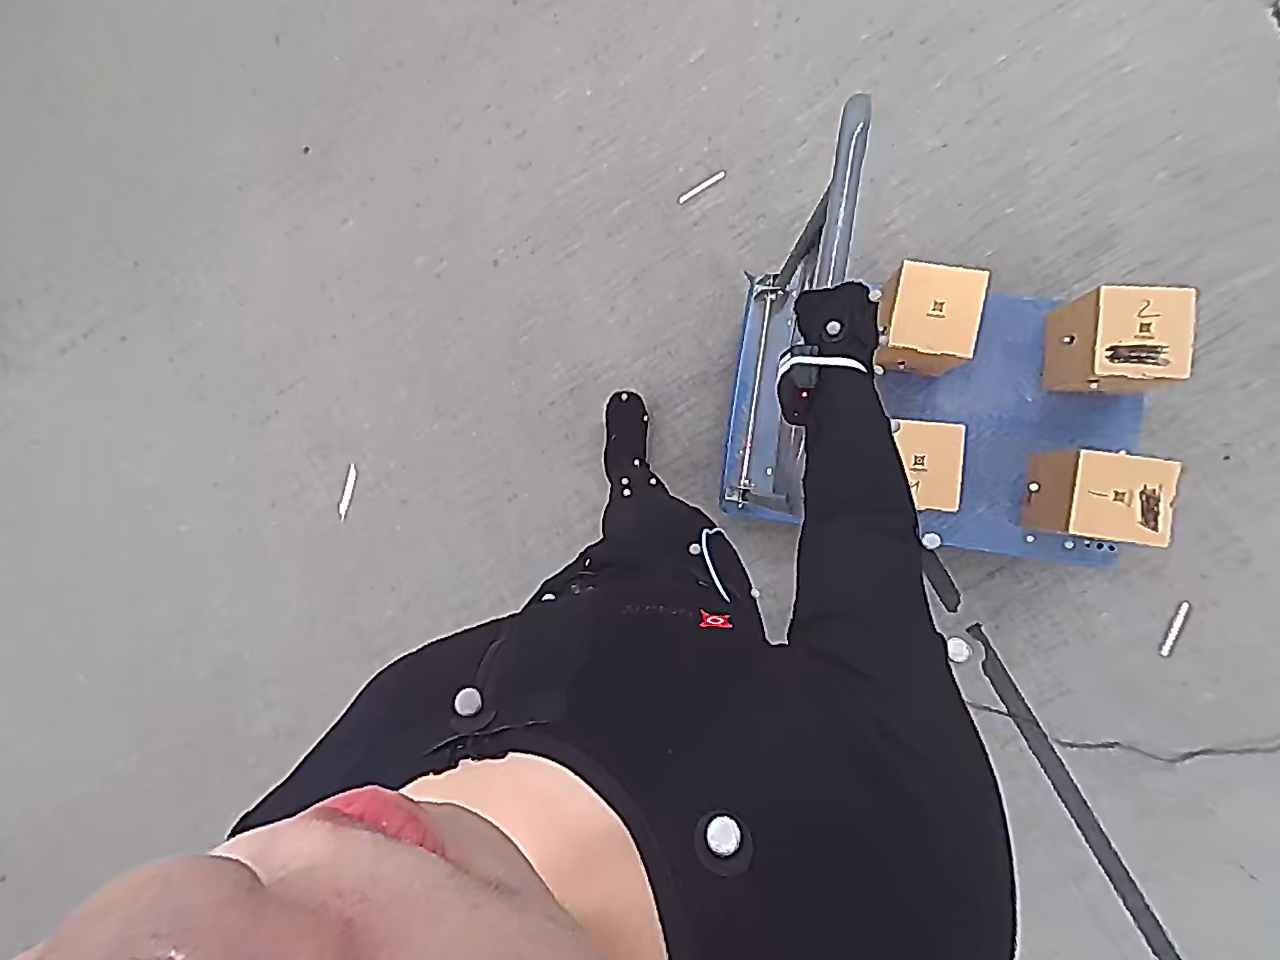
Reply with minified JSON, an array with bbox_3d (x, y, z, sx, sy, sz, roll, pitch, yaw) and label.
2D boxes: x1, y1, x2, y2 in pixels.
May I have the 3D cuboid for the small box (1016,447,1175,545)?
[{"bbox_3d":[0.920,0.030,1.107,0.179,0.176,0.168,9,90,8],"label":"small box"}]

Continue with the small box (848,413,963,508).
[{"bbox_3d":[0.554,-0.037,1.149,0.168,0.176,0.179,6,90,7],"label":"small box"}]

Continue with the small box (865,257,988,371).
[{"bbox_3d":[0.597,-0.344,1.149,0.168,0.176,0.179,11,92,6],"label":"small box"}]
